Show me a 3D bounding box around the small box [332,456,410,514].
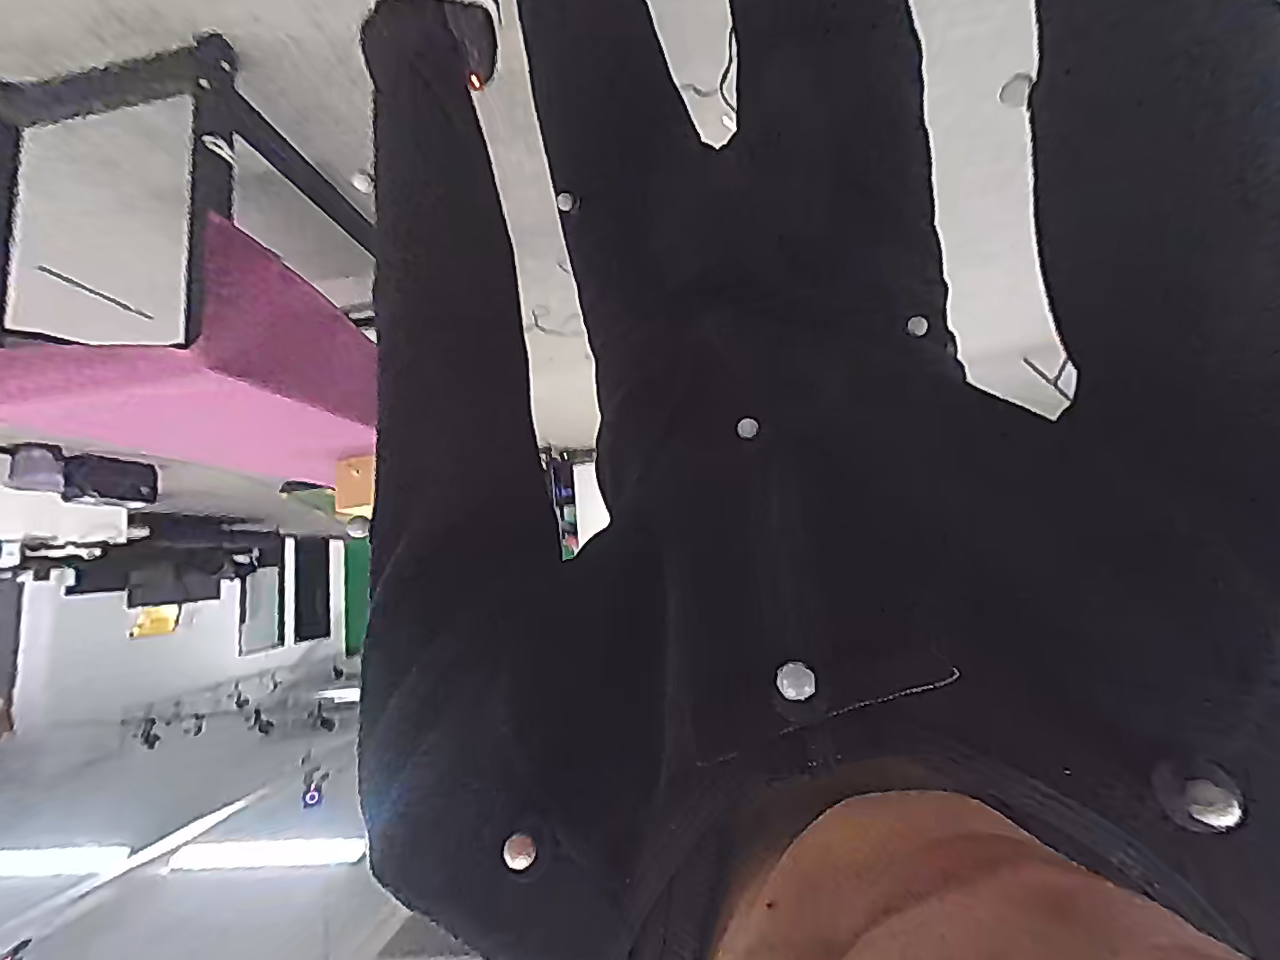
[{"bbox_3d":[-0.900,0.019,1.816,0.168,0.176,0.179,-8,170,16],"label":"small box"}]
